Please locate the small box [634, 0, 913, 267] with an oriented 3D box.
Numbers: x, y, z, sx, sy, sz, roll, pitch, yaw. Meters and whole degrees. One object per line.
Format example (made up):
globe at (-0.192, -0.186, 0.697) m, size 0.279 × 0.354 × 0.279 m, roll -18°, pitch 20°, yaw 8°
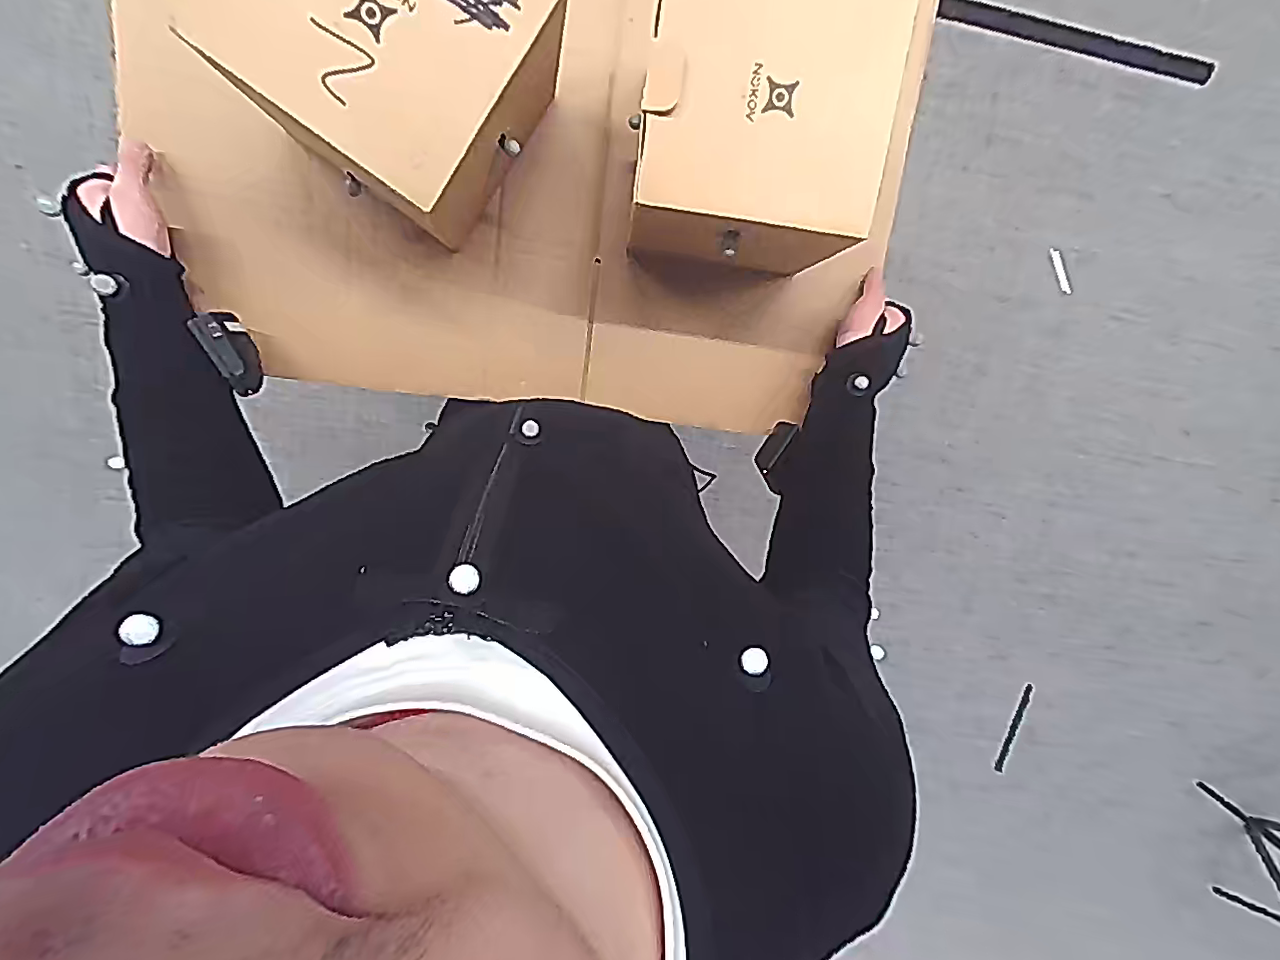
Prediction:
small box at (0.092, -0.289, 0.466) m, size 0.179 × 0.176 × 0.168 m, roll 7°, pitch 102°, yaw -3°
